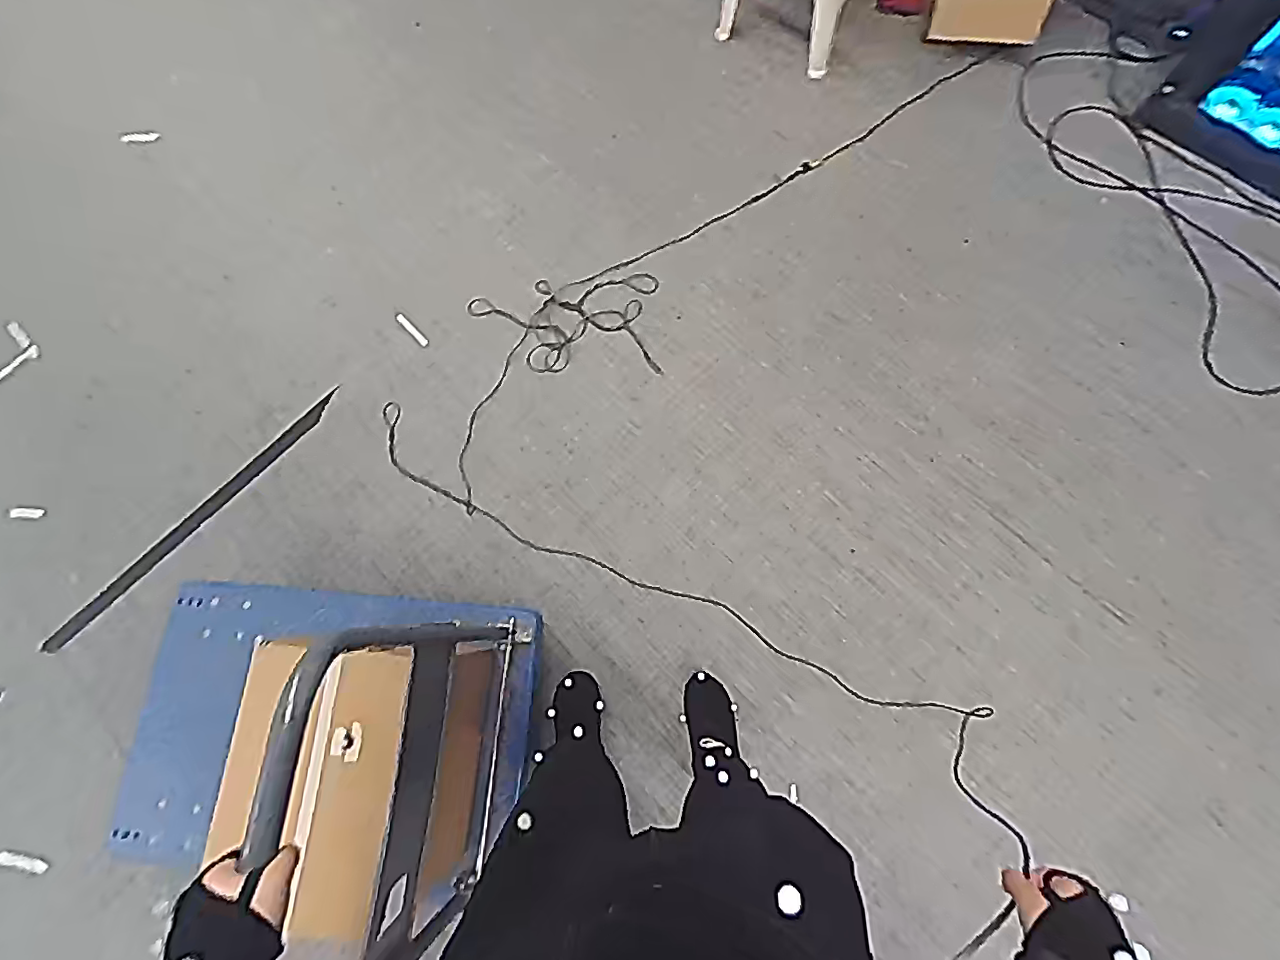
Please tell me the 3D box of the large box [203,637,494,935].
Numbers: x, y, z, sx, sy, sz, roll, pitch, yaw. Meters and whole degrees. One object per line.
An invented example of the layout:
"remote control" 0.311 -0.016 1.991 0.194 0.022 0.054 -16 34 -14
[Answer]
"large box" -0.491 0.512 0.999 0.320 0.320 0.408 4 75 5
